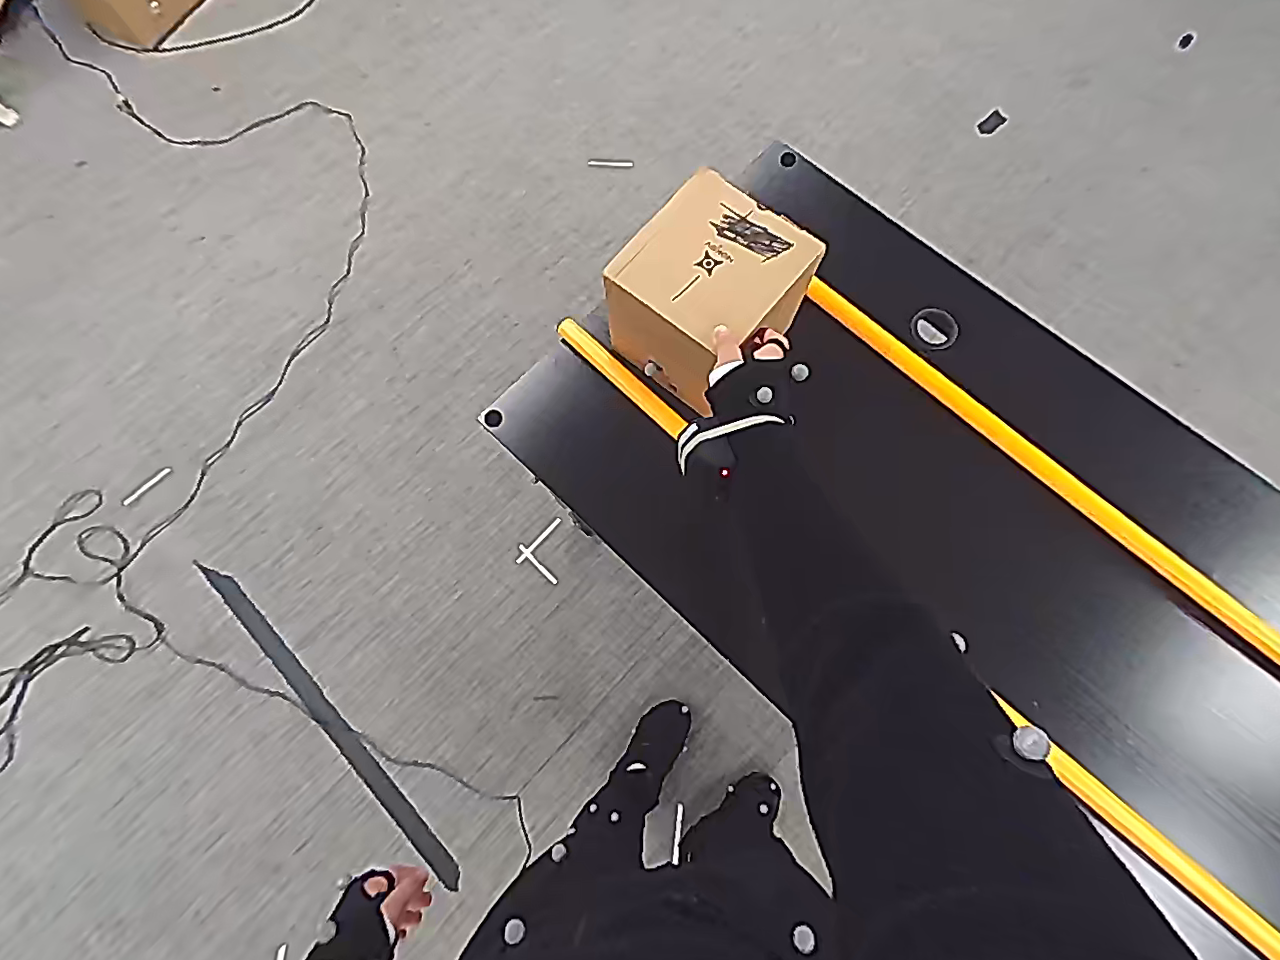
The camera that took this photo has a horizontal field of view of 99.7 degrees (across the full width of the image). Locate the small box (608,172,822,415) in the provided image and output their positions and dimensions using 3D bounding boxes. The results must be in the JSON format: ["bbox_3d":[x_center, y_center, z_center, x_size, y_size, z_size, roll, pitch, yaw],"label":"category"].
[{"bbox_3d":[0.080,-0.211,0.649,0.168,0.176,0.179,39,80,11],"label":"small box"}]
